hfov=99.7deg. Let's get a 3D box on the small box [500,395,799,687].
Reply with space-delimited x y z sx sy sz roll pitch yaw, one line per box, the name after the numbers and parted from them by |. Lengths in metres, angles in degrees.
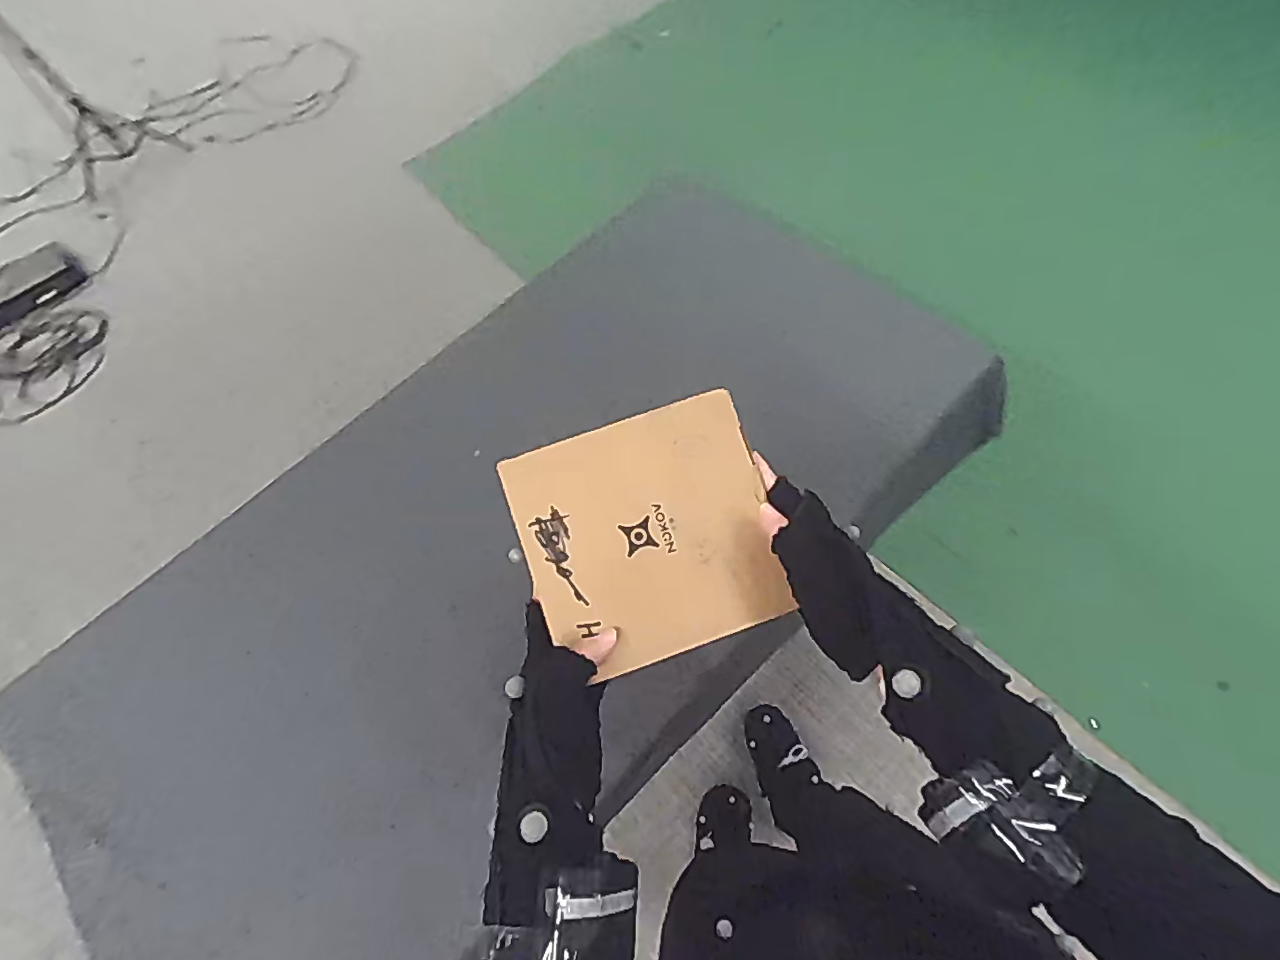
0.004 0.048 0.455 0.179 0.176 0.168 -18 83 -3 | small box
